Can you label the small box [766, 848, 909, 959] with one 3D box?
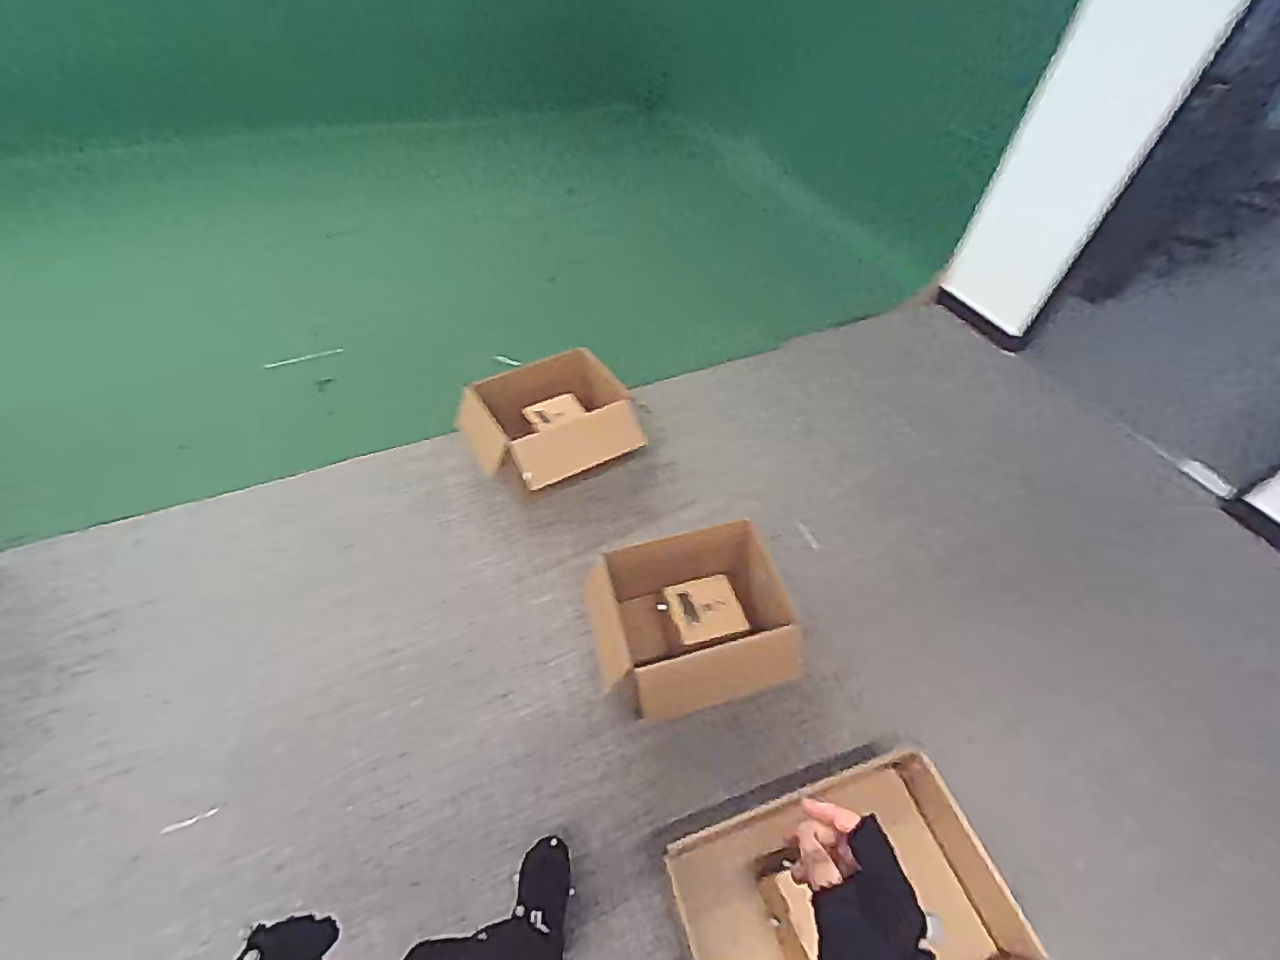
[{"bbox_3d":[0.370,0.843,1.047,0.179,0.176,0.168,-14,53,-13],"label":"small box"}]
